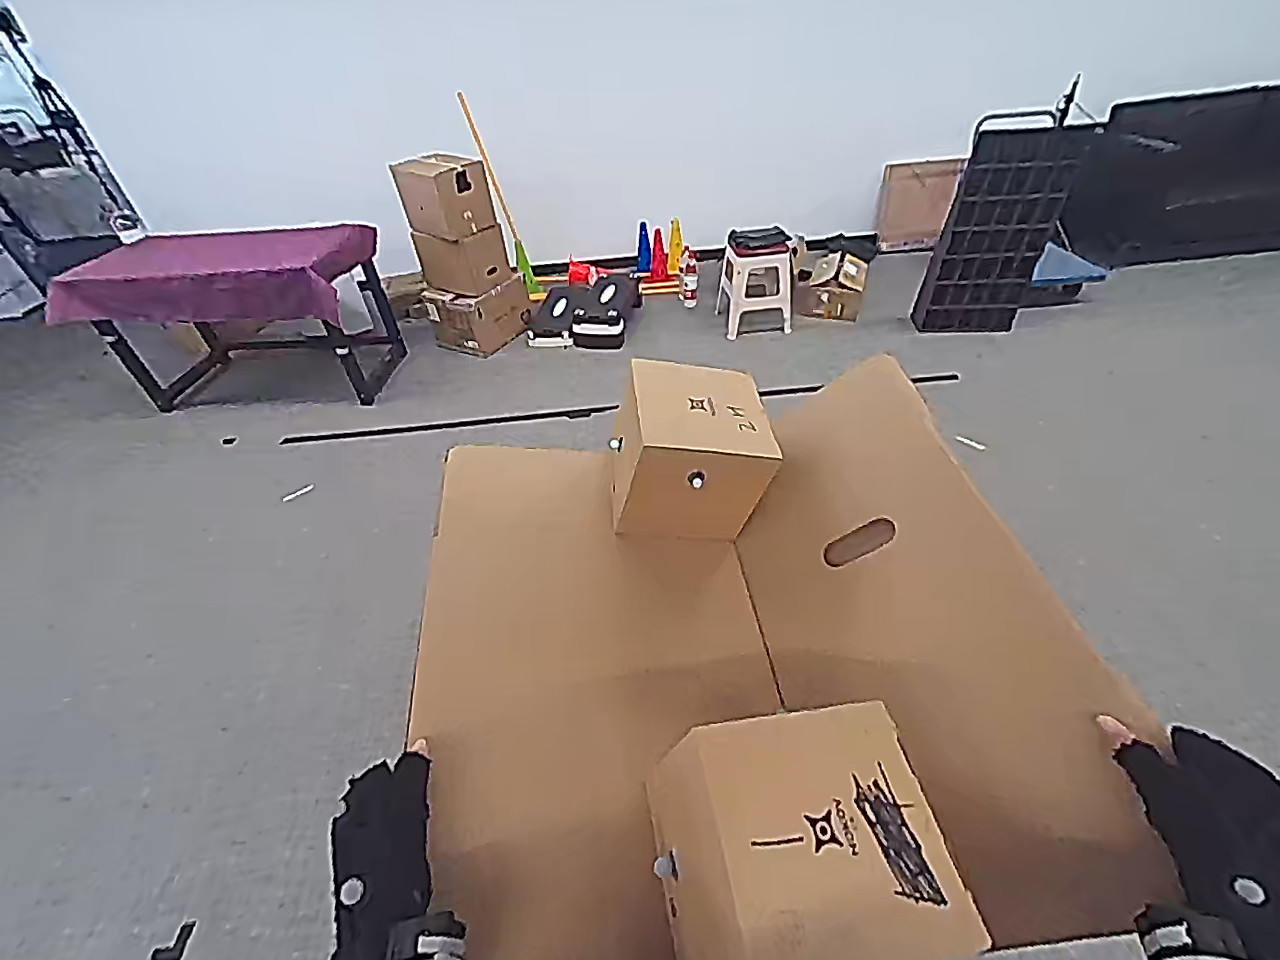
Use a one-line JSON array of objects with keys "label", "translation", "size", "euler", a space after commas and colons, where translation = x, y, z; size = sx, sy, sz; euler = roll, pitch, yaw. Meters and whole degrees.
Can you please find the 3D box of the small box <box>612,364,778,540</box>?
[{"label": "small box", "translation": [0.059, -0.032, 0.738], "size": [0.179, 0.176, 0.168], "euler": [6, 48, -13]}]
